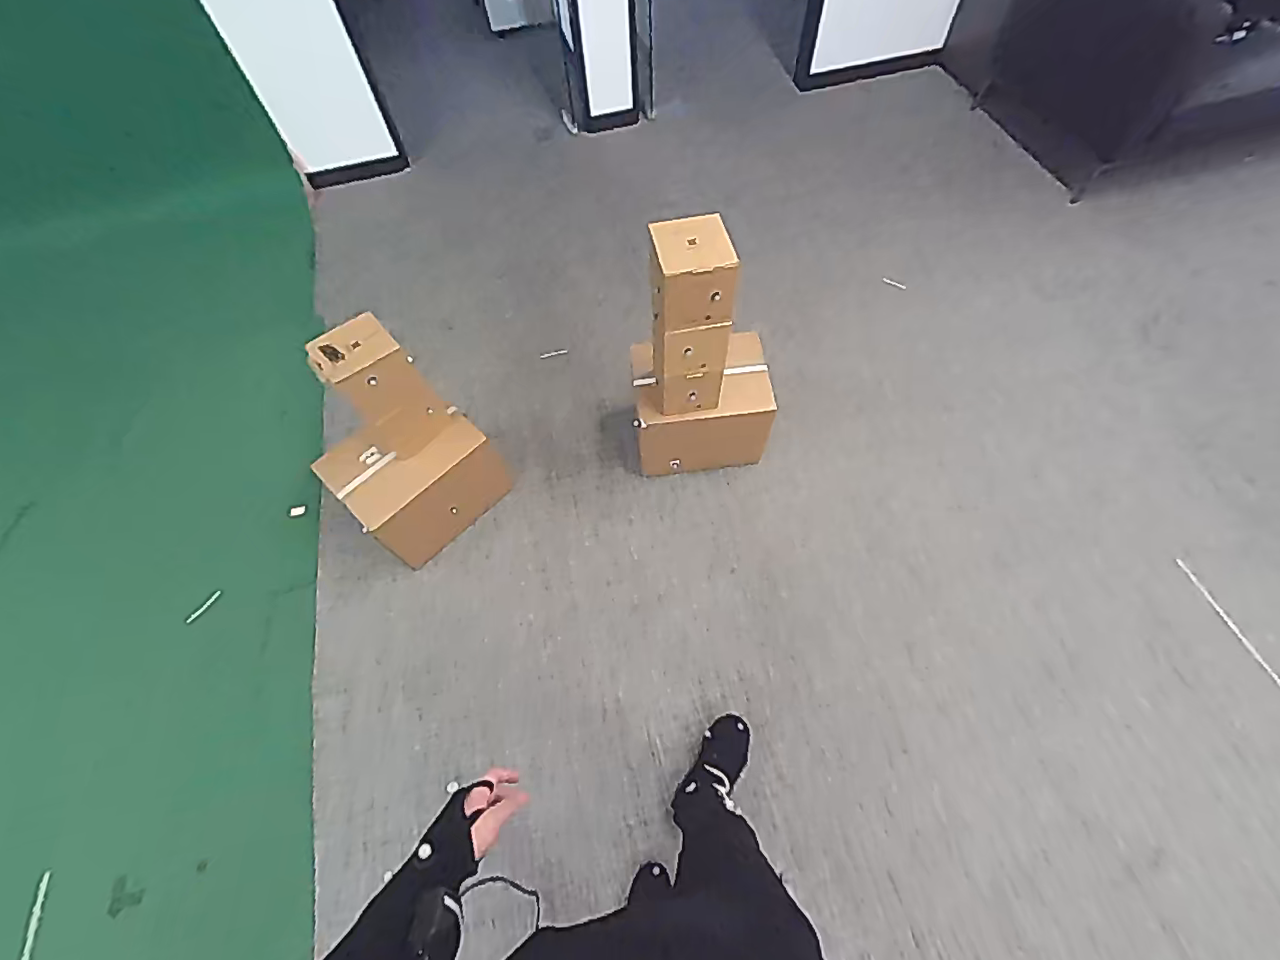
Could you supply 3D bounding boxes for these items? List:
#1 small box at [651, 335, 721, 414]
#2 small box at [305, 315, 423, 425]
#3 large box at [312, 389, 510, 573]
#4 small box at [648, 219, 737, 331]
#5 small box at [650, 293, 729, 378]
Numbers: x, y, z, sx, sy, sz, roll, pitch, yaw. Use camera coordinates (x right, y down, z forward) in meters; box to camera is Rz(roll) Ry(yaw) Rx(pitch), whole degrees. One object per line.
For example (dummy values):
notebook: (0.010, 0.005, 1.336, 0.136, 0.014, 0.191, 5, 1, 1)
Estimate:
small box: (0.125, -0.301, 1.526, 0.168, 0.176, 0.179, -9, 62, -3)
small box: (-0.680, -0.269, 1.349, 0.179, 0.176, 0.168, -37, 66, -18)
large box: (-0.678, 0.005, 1.666, 0.320, 0.320, 0.408, 38, 70, 21)
small box: (0.115, -0.462, 1.244, 0.168, 0.176, 0.179, -10, 60, -4)
small box: (0.123, -0.379, 1.384, 0.168, 0.176, 0.179, -10, 60, -3)
